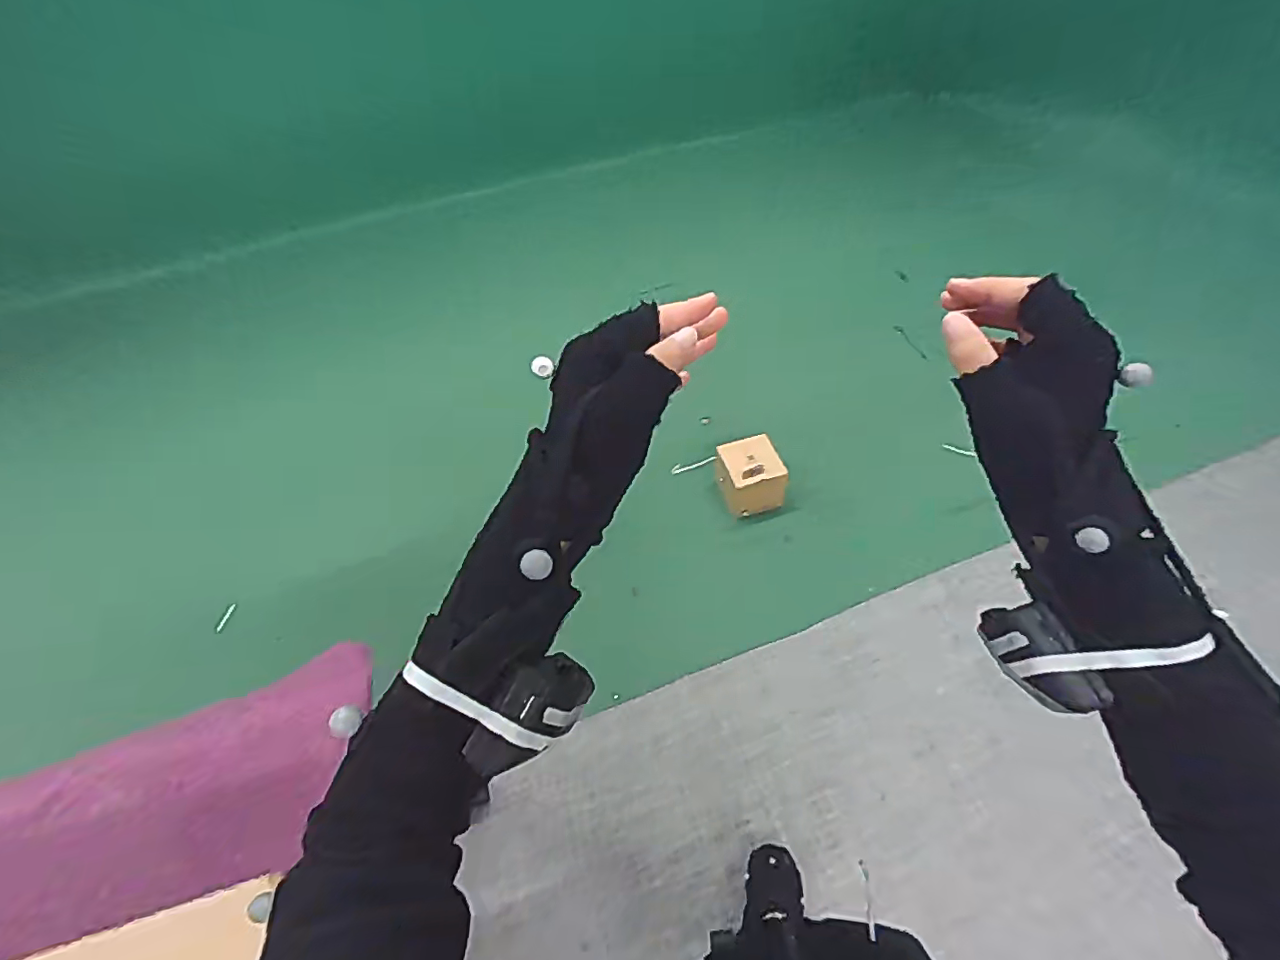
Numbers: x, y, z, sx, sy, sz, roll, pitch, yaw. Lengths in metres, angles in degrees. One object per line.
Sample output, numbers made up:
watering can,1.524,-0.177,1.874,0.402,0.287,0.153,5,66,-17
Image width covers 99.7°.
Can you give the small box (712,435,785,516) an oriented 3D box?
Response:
small box,0.338,-0.006,1.711,0.168,0.176,0.179,-18,54,-8
